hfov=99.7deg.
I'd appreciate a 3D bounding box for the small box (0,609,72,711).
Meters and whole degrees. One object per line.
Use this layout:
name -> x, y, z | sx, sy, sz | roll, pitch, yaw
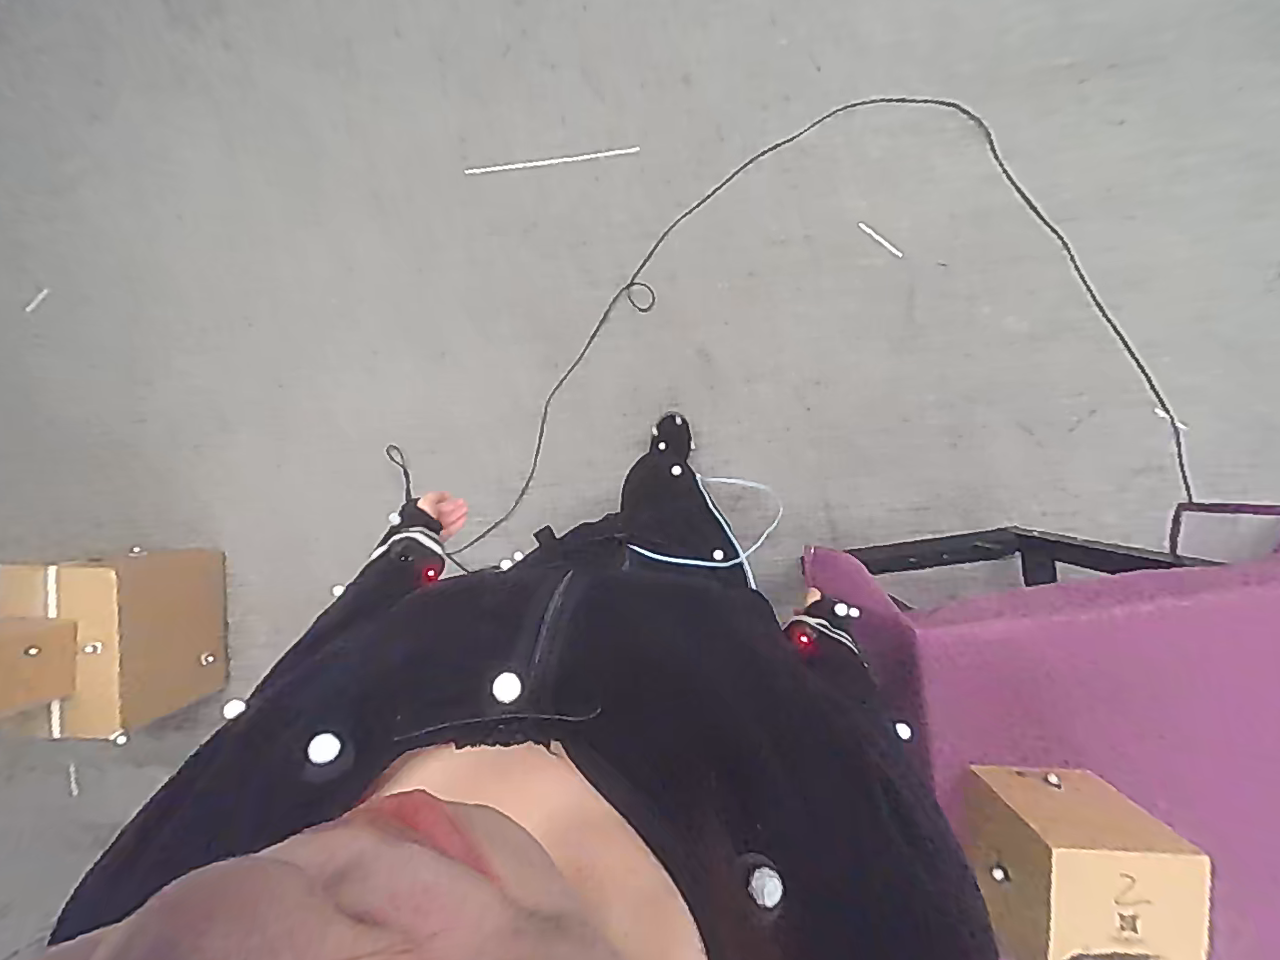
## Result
small box -> -1.411, 0.393, 1.186 | 0.168, 0.176, 0.179 | 4, 92, 5
